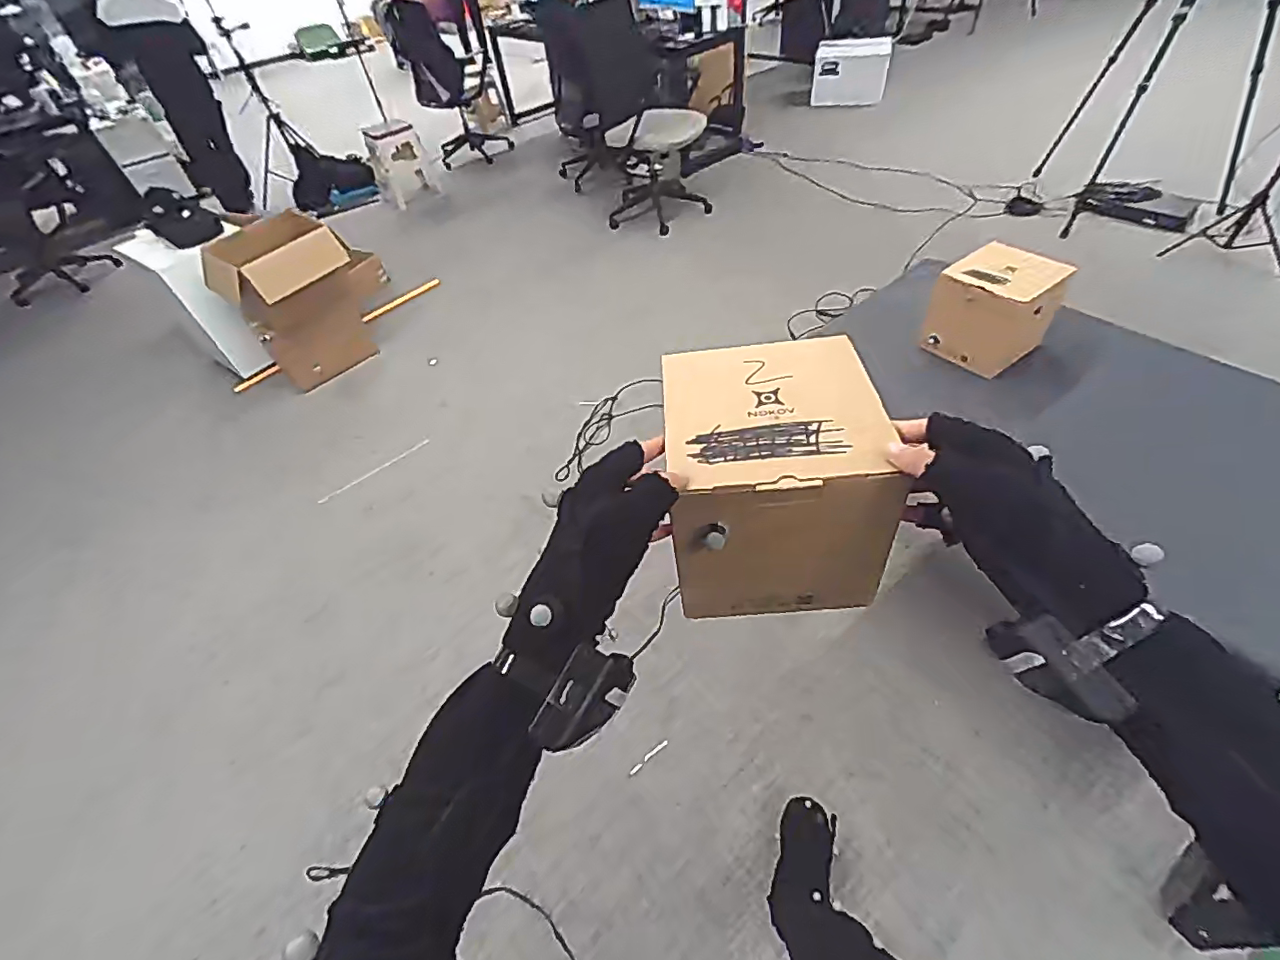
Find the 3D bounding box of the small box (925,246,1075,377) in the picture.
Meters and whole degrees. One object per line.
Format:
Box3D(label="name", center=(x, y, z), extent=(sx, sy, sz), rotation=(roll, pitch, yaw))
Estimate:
Box3D(label="small box", center=(0.701, -0.334, 1.079), extent=(0.179, 0.176, 0.168), rotation=(-31, 52, -19))
